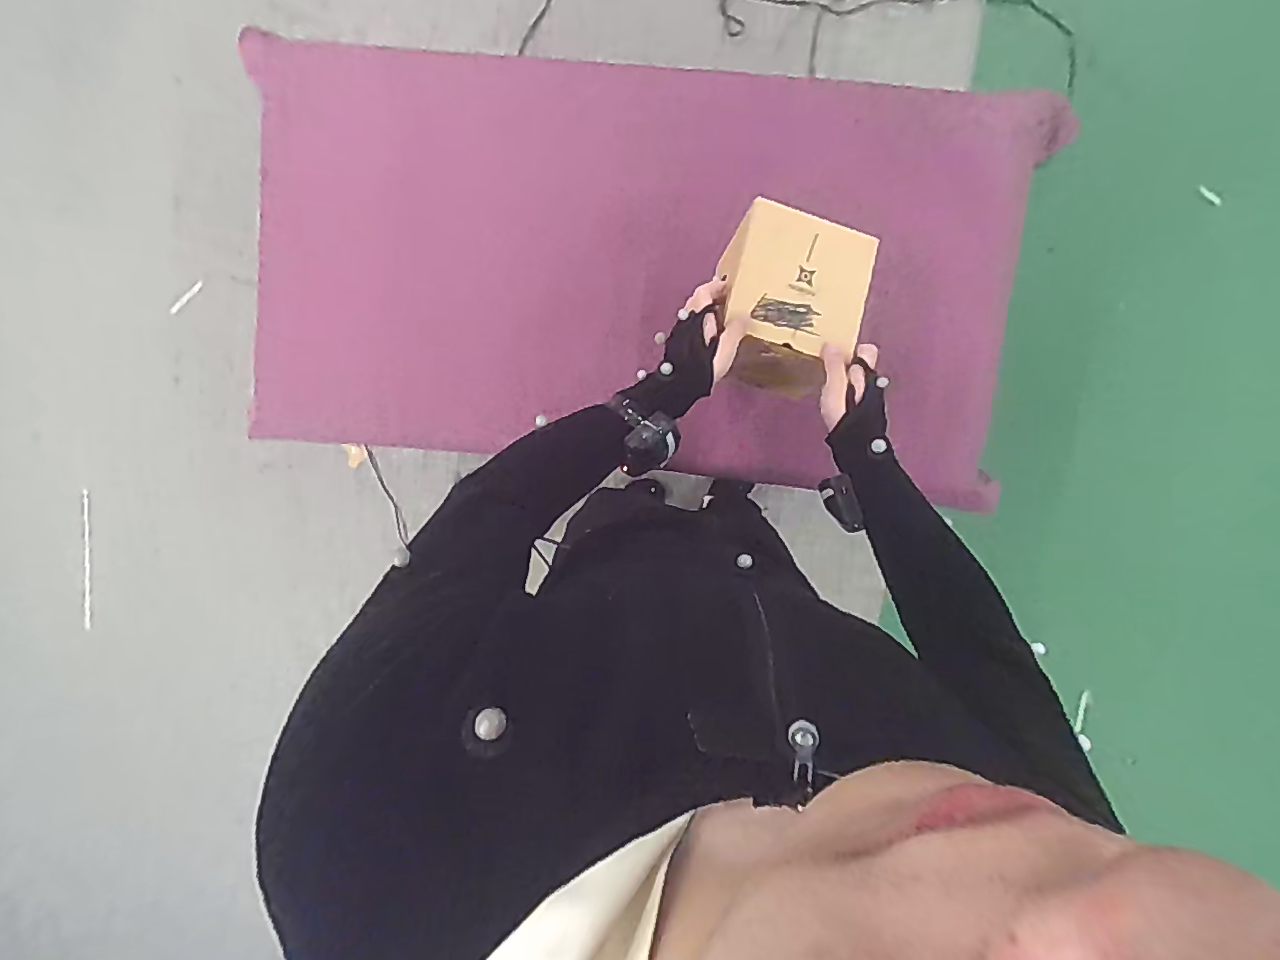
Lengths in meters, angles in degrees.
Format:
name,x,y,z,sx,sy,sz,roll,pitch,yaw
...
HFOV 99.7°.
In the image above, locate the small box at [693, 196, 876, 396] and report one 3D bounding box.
name,x,y,z,sx,sy,sz,roll,pitch,yaw
small box,0.179,-0.228,0.720,0.168,0.176,0.179,17,83,-6
